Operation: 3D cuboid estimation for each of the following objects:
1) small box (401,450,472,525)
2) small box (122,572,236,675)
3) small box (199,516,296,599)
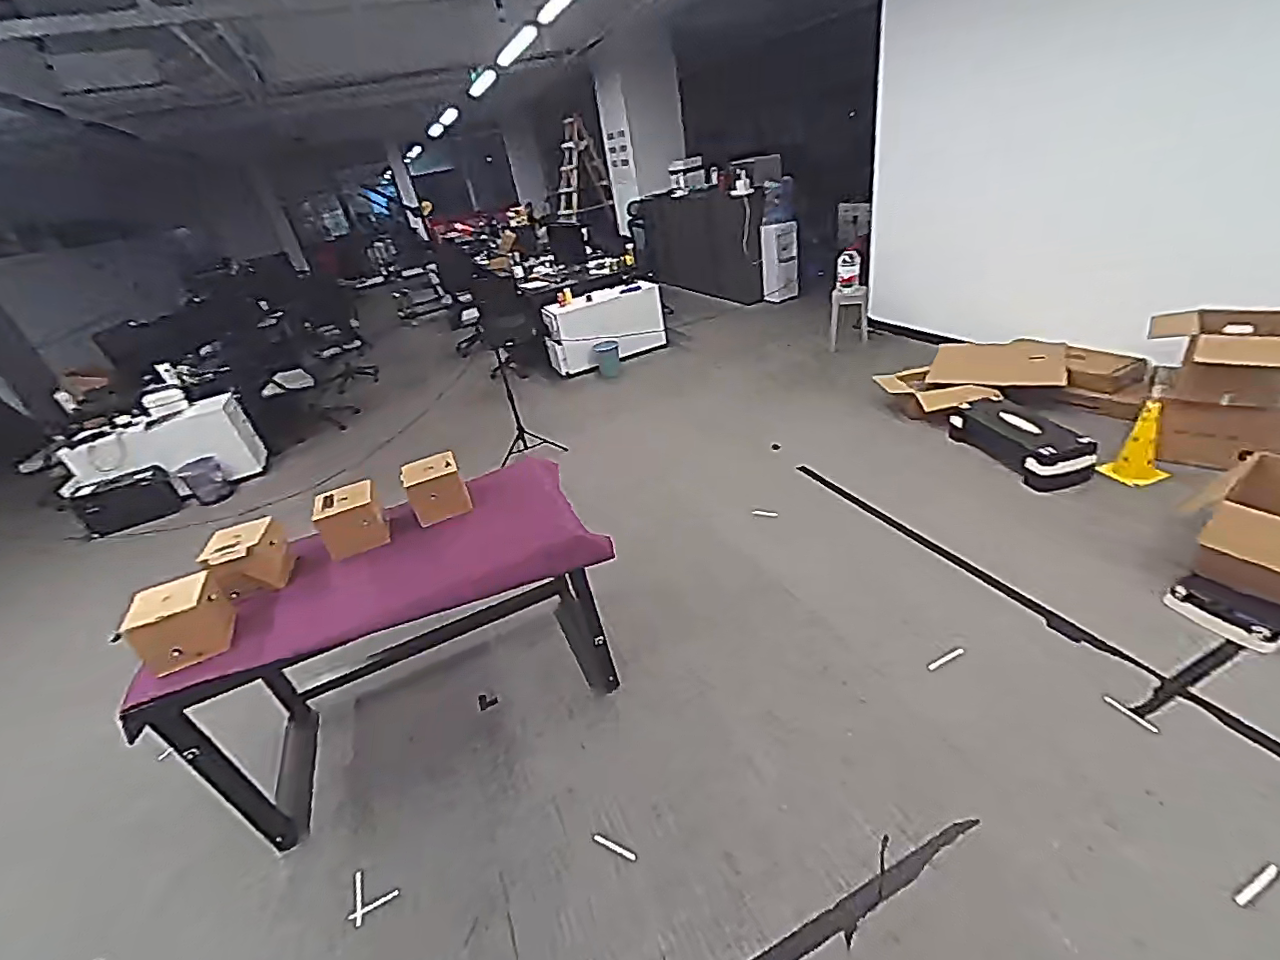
[{"bbox_3d":[-0.699,0.028,1.862,0.179,0.176,0.168,-22,35,-14],"label":"small box"},{"bbox_3d":[-1.226,0.384,1.455,0.168,0.176,0.179,-21,33,-20],"label":"small box"},{"bbox_3d":[-1.204,0.246,1.677,0.168,0.176,0.179,-17,32,-11],"label":"small box"}]
